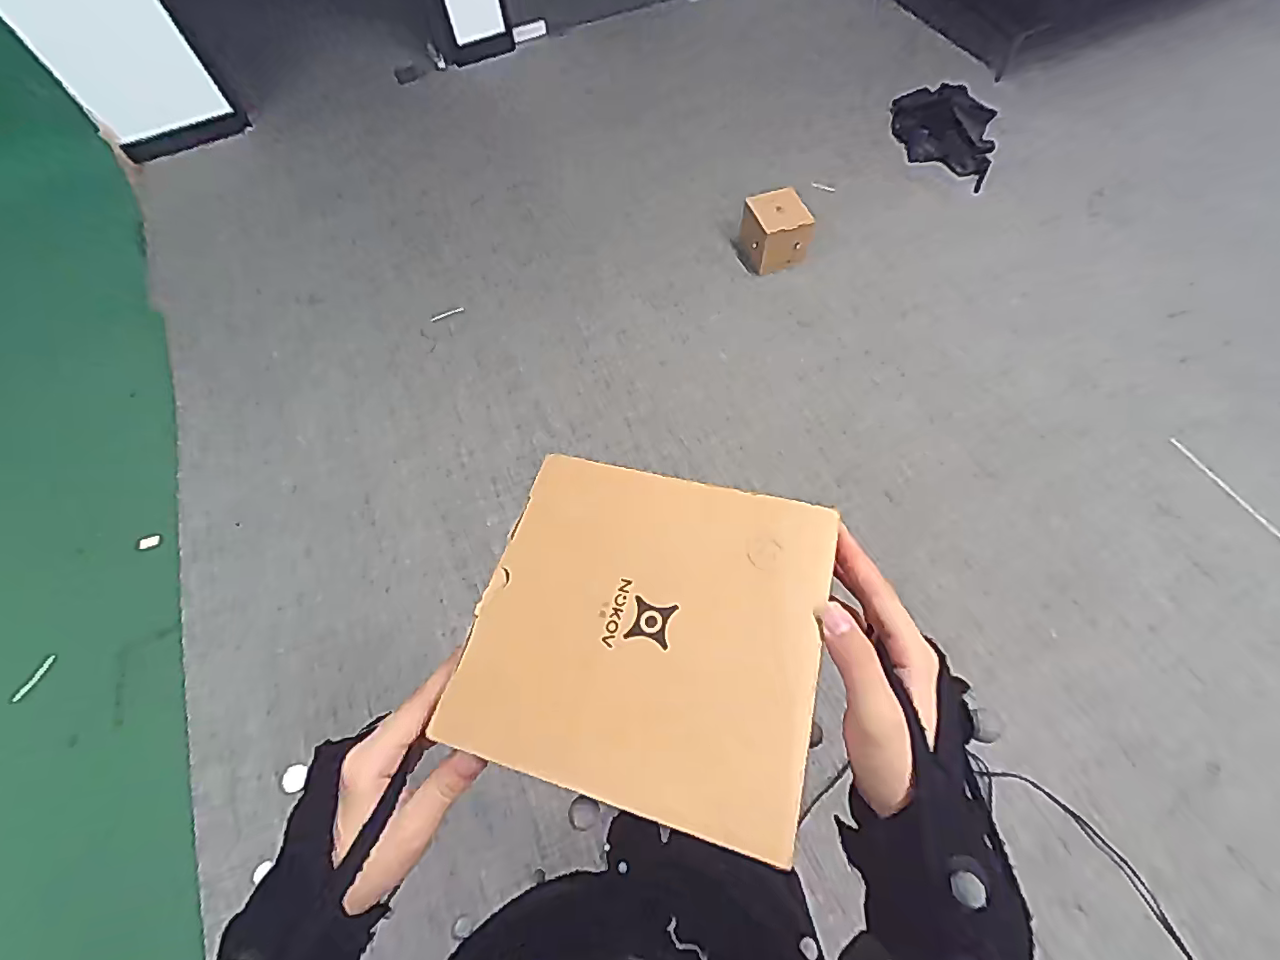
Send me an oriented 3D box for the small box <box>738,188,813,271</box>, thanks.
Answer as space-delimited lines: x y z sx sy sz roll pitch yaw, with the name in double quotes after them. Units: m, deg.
0.434 -0.806 1.758 0.168 0.176 0.179 -17 63 -7 "small box"
